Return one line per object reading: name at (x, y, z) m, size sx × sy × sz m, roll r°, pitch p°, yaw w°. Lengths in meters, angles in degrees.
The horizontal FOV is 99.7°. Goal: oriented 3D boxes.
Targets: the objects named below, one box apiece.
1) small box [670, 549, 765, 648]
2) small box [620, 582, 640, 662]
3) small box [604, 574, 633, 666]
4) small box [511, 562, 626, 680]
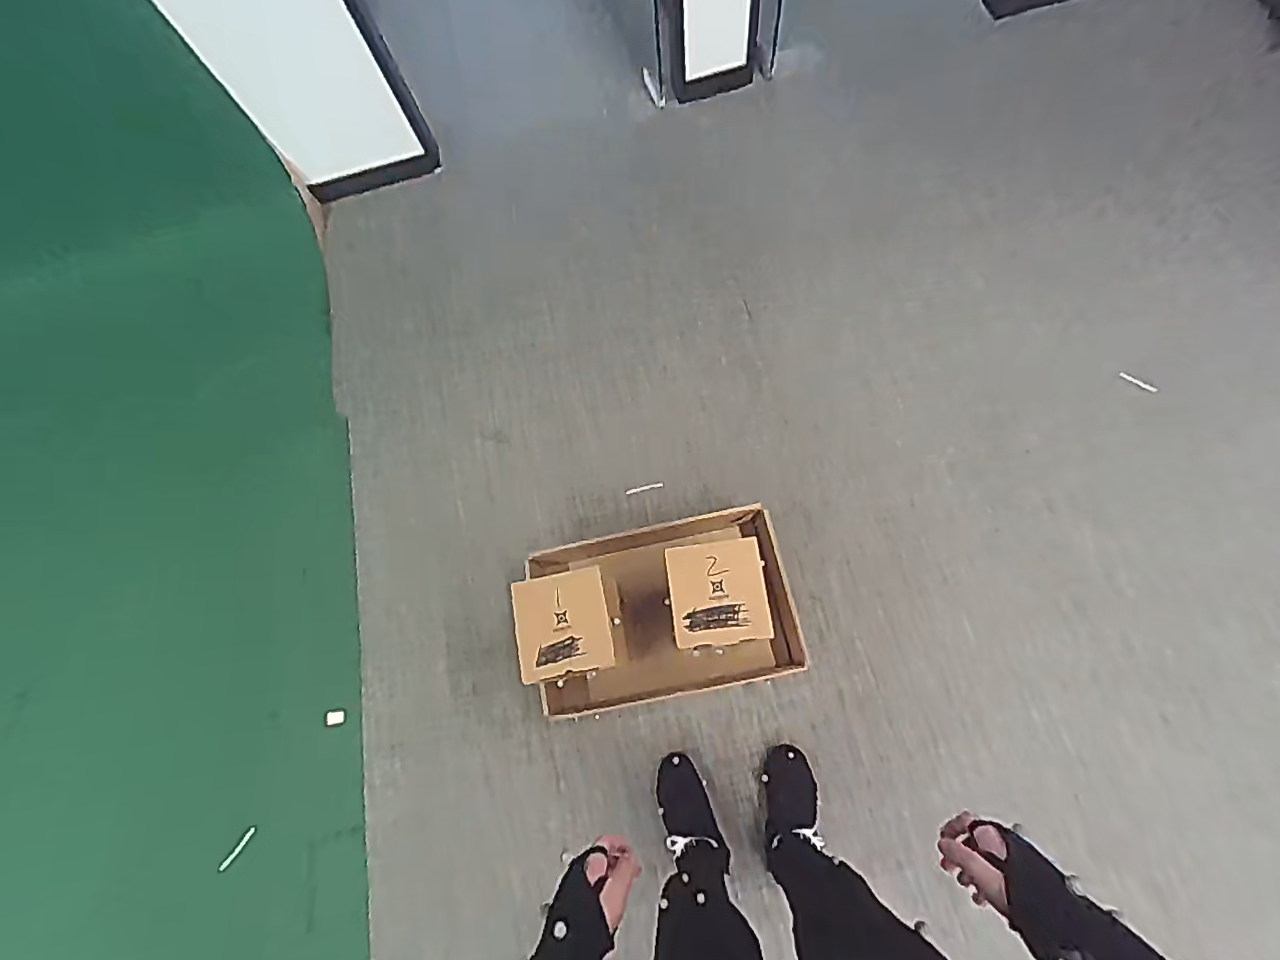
small box at (0.159, 0.259, 1.158) m, size 0.168 × 0.176 × 0.179 m, roll -11°, pitch 73°, yaw 3°
small box at (-0.098, 0.359, 1.321) m, size 0.168 × 0.176 × 0.179 m, roll -10°, pitch 71°, yaw 3°
small box at (-0.112, 0.312, 1.167) m, size 0.168 × 0.176 × 0.179 m, roll -10°, pitch 72°, yaw 2°
small box at (-0.127, 0.265, 1.010) m, size 0.168 × 0.176 × 0.179 m, roll -12°, pitch 71°, yaw 1°
